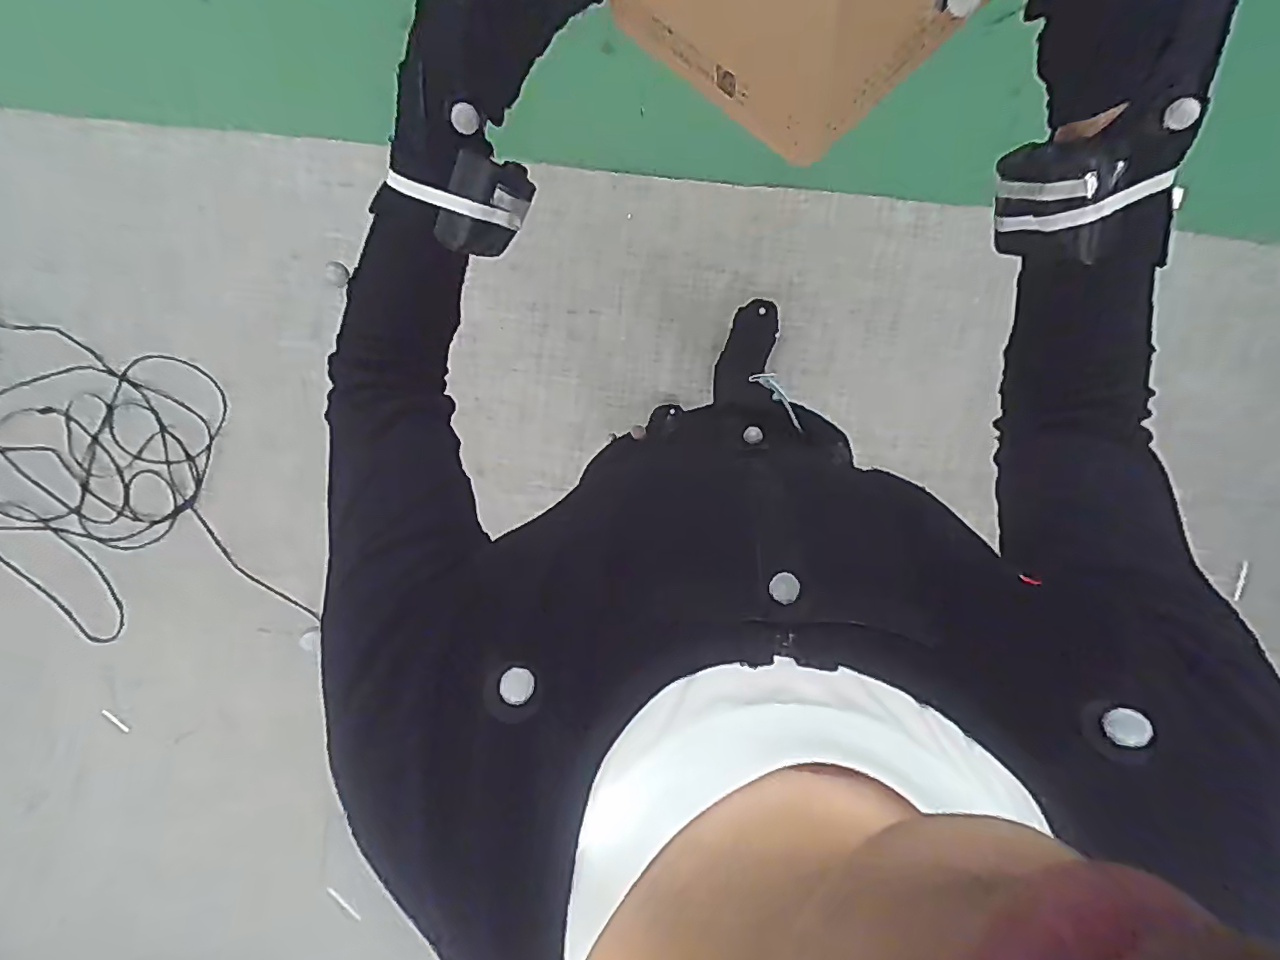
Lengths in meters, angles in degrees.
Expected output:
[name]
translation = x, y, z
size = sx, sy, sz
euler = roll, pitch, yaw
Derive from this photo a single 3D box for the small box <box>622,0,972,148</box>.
[small box]
translation = 0.086, -0.308, 0.244
size = 0.179, 0.176, 0.168
euler = -43, 75, -1
